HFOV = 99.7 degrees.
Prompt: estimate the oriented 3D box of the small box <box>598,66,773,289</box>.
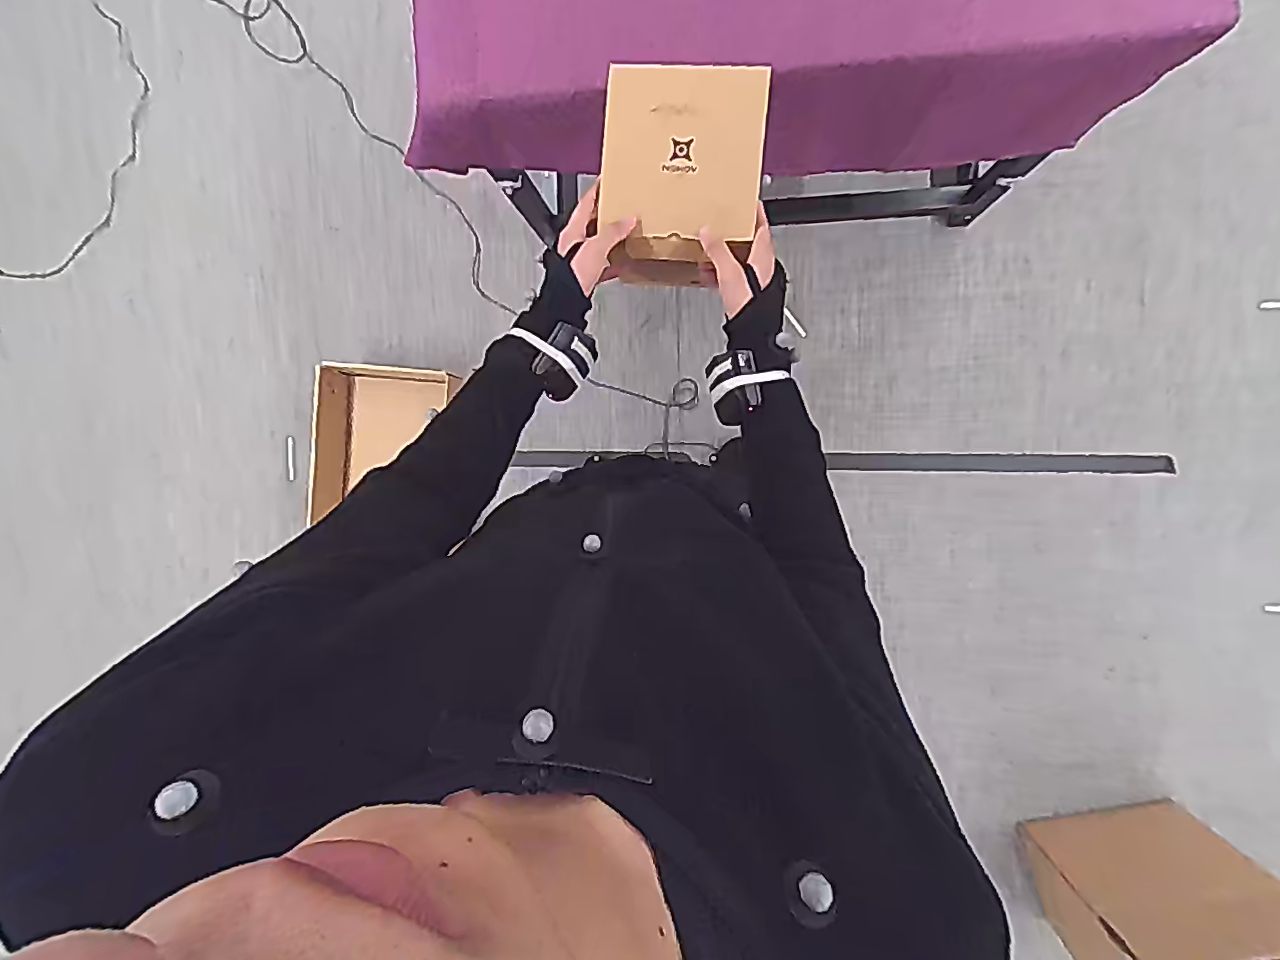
[{"bbox_3d":[0.053,-0.335,0.631,0.168,0.176,0.179,6,94,5],"label":"small box"}]
